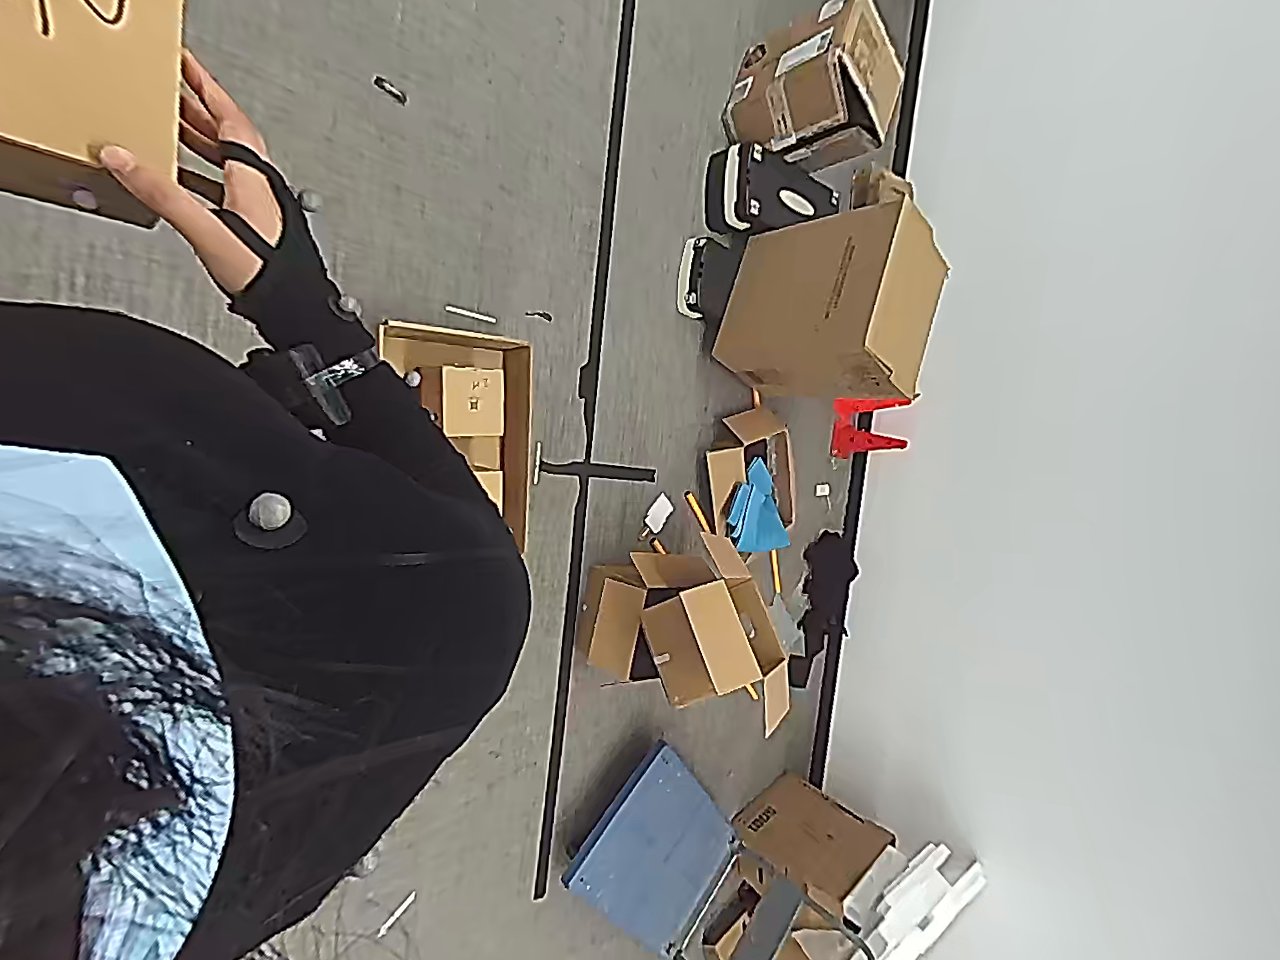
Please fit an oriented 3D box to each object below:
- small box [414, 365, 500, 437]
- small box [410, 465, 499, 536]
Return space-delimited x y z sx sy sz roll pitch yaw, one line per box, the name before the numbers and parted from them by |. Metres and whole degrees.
small box | -0.483 -0.209 1.425 0.168 0.176 0.179 -5 102 -43
small box | -0.499 0.049 1.456 0.179 0.176 0.168 -3 98 -42
